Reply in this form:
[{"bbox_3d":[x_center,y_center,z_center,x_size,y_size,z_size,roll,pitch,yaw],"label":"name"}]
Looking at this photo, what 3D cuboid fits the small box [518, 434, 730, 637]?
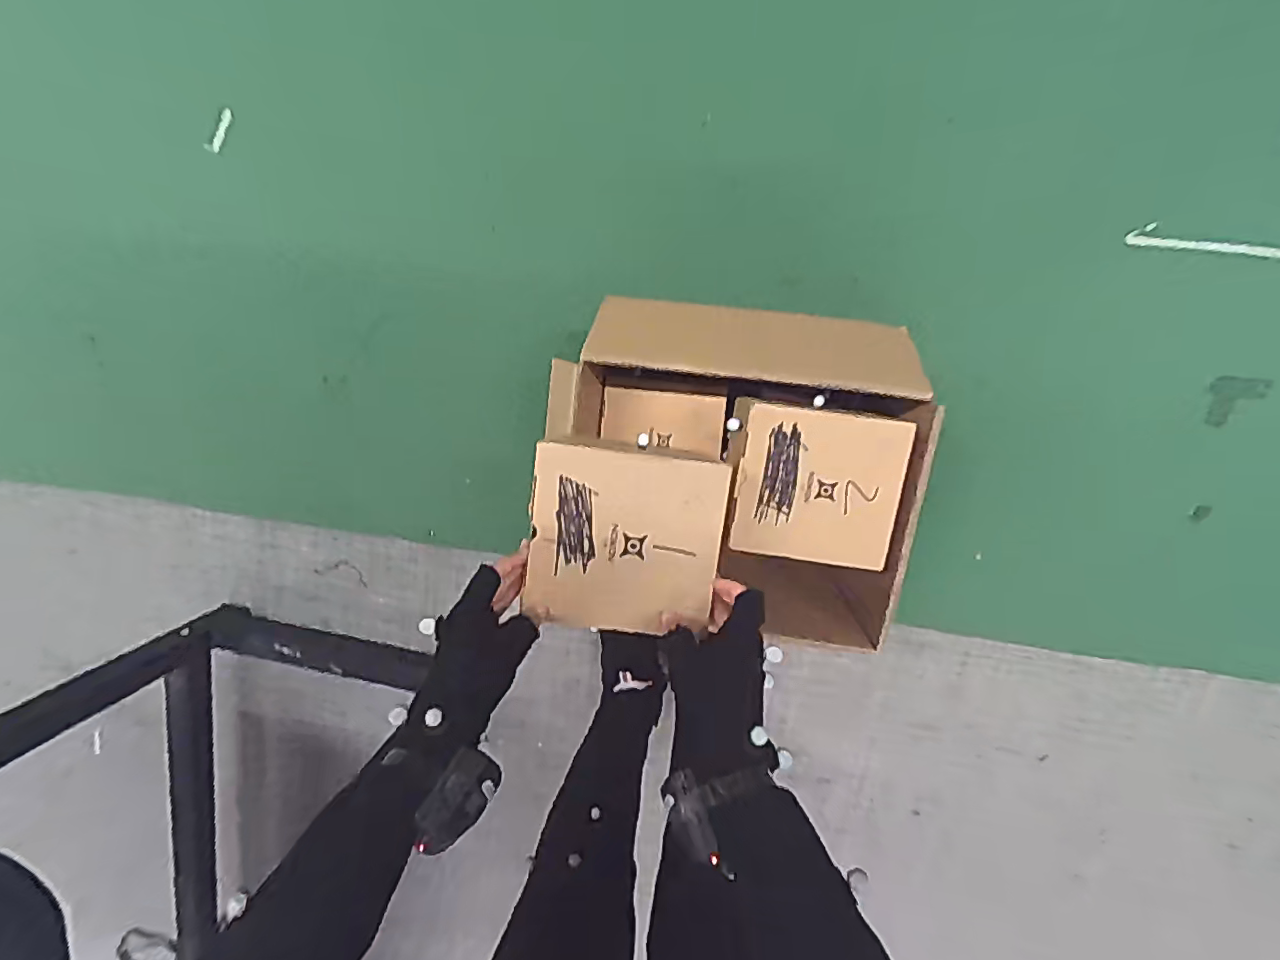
[{"bbox_3d":[-0.018,0.045,0.567,0.179,0.176,0.168,7,98,-3],"label":"small box"}]
